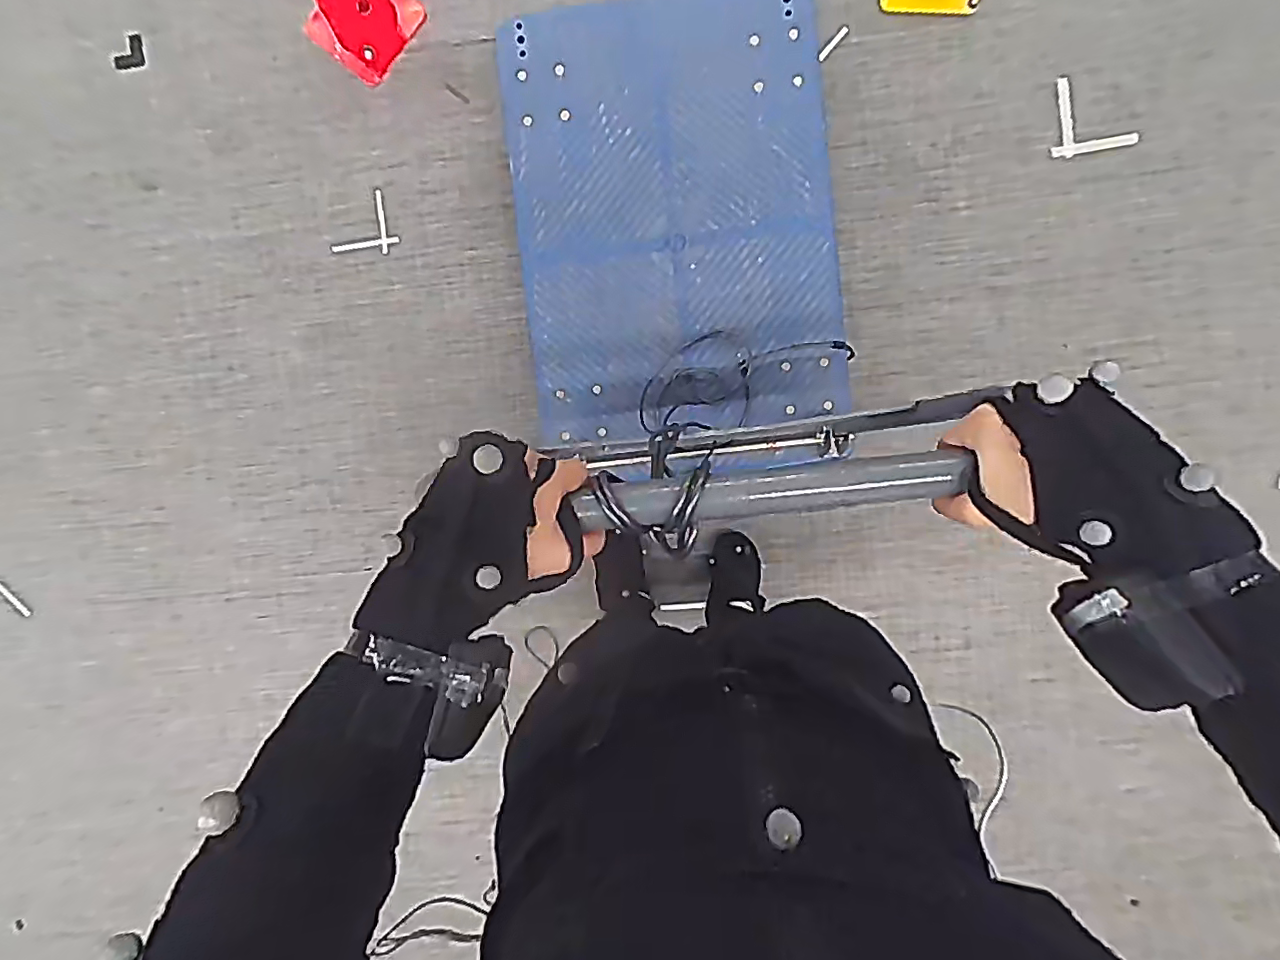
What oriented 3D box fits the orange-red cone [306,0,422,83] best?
[{"bbox_3d":[-0.594,-0.972,0.985,0.198,0.360,0.199,40,93,-1],"label":"orange-red cone"}]
